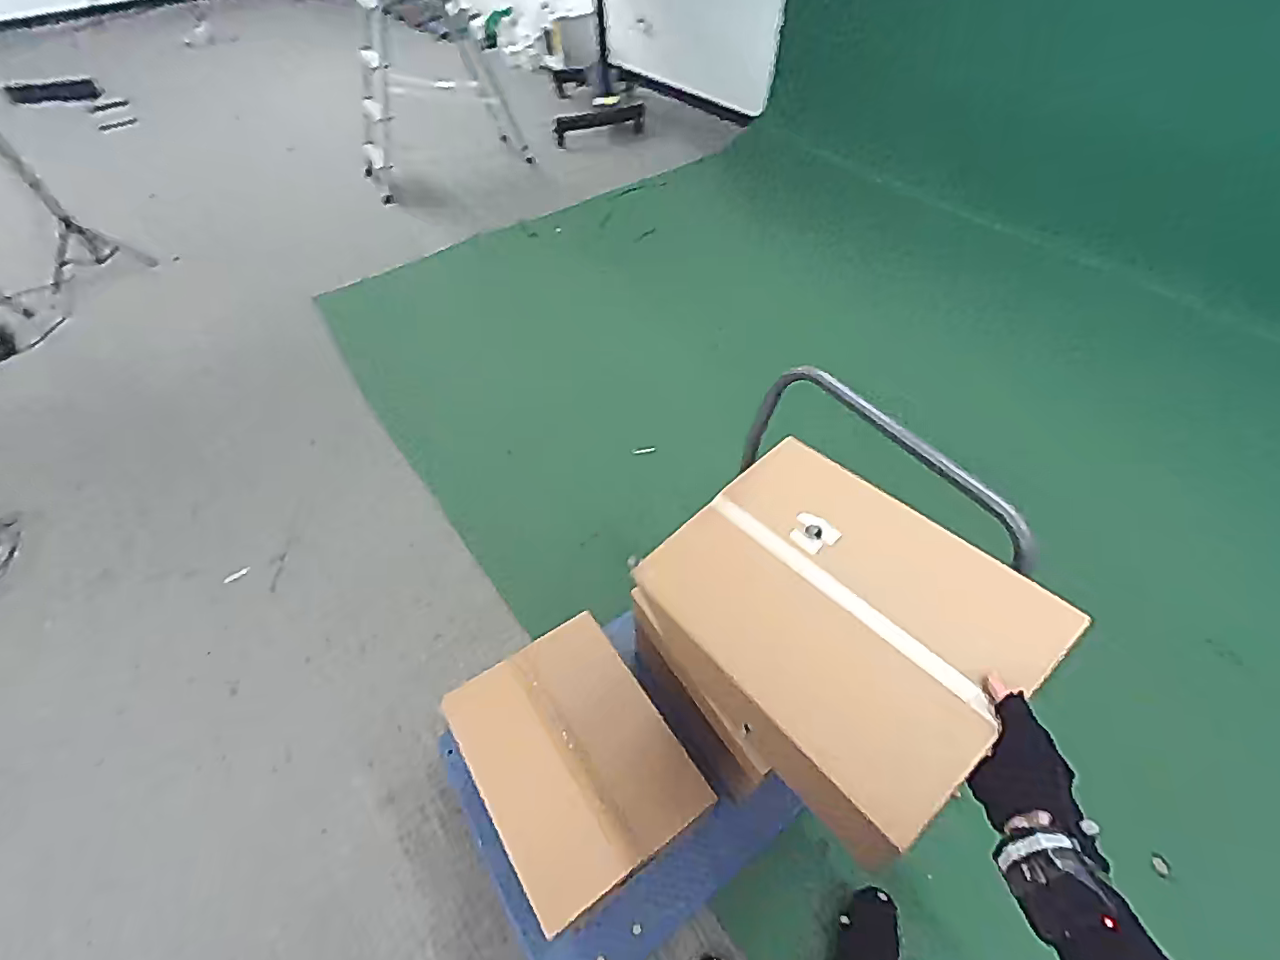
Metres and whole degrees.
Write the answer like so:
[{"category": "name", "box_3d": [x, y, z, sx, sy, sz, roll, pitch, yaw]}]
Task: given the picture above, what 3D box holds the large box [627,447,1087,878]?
[{"category": "large box", "box_3d": [0.256, 0.231, 0.732, 0.320, 0.320, 0.408, -39, 50, -15]}]
